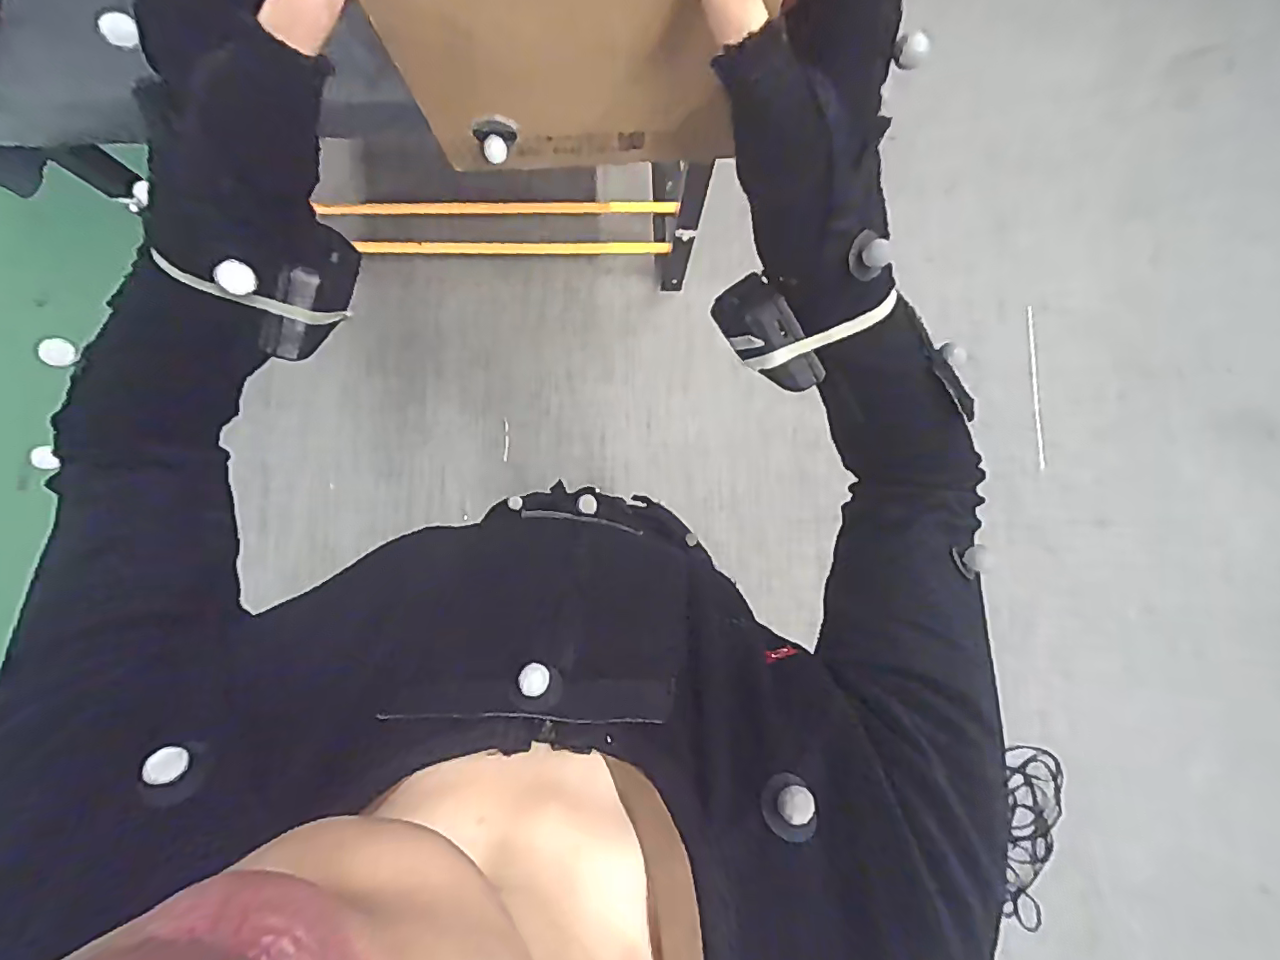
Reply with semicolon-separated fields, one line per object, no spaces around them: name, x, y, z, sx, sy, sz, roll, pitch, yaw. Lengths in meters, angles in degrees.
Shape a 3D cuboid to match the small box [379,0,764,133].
small box;-0.029;-0.278;0.228;0.168;0.176;0.179;-3;87;-1
